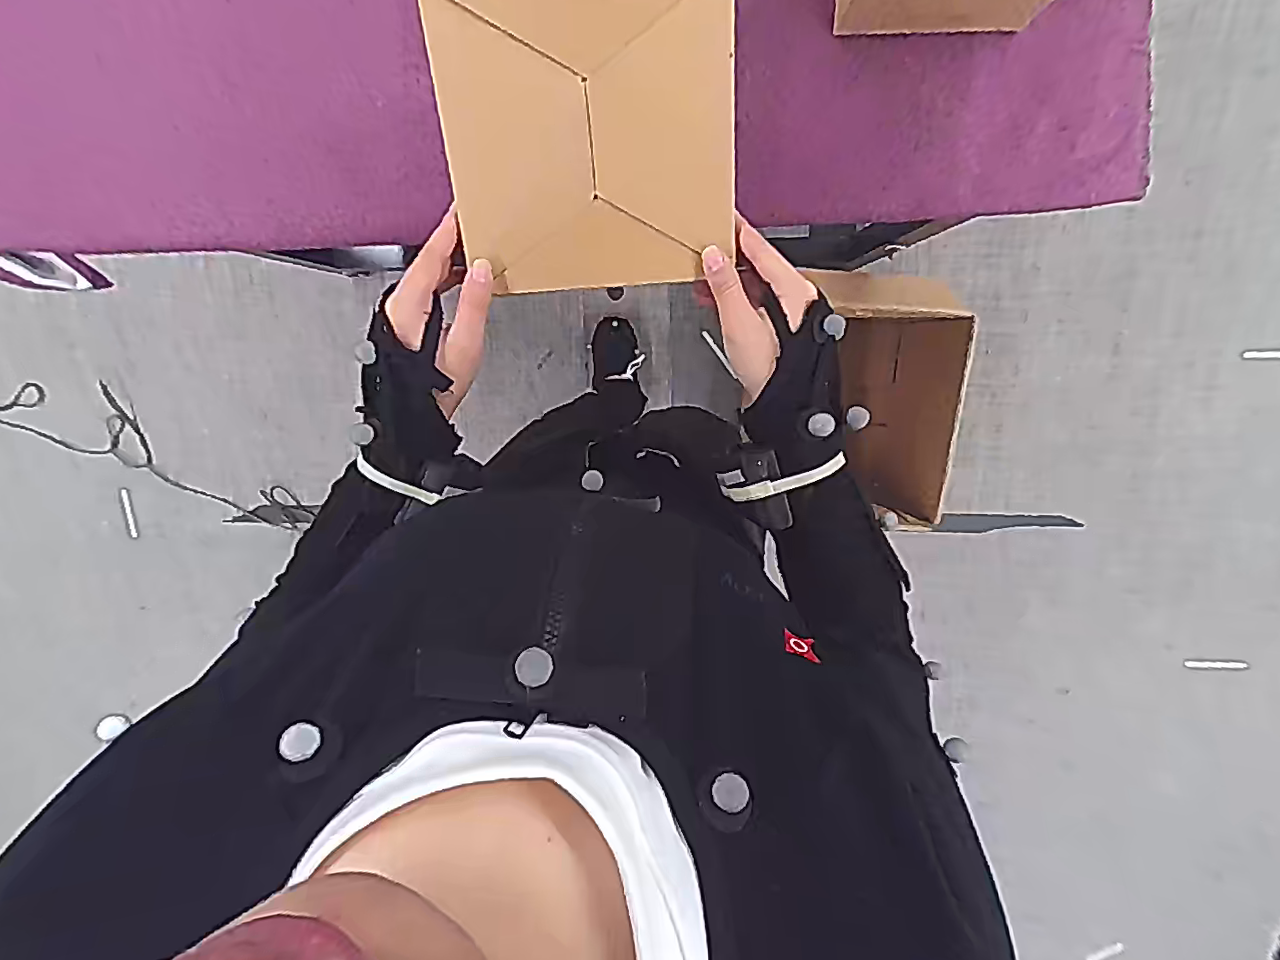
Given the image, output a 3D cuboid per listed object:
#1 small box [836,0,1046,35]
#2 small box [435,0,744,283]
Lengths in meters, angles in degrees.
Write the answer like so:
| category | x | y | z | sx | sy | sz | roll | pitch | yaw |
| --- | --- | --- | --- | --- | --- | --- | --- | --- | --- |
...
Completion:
| category | x | y | z | sx | sy | sz | roll | pitch | yaw |
| --- | --- | --- | --- | --- | --- | --- | --- | --- | --- |
| small box | 0.271 | -0.483 | 0.415 | 0.179 | 0.176 | 0.168 | 1 | 101 | 2 |
| small box | -0.030 | -0.239 | 0.398 | 0.179 | 0.176 | 0.168 | -5 | 112 | -1 |
